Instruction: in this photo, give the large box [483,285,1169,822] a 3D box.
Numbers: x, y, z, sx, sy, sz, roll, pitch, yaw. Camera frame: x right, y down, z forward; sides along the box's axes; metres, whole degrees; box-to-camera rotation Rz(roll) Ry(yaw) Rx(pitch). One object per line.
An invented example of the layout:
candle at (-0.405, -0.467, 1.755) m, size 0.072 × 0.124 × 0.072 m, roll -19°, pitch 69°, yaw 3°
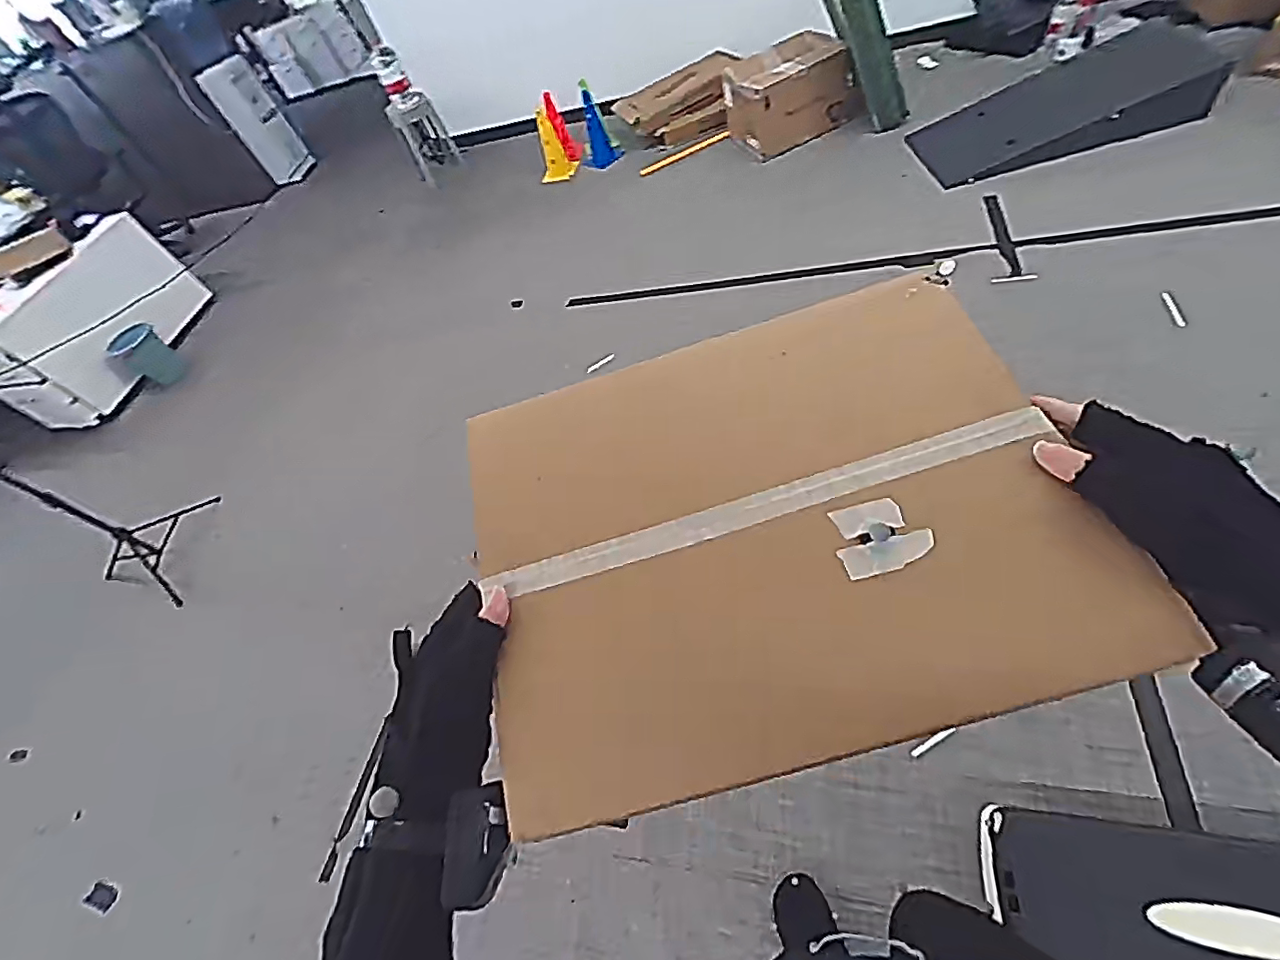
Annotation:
large box at (0.112, 0.089, 0.523) m, size 0.408 × 0.320 × 0.320 m, roll -17°, pitch 62°, yaw 3°
